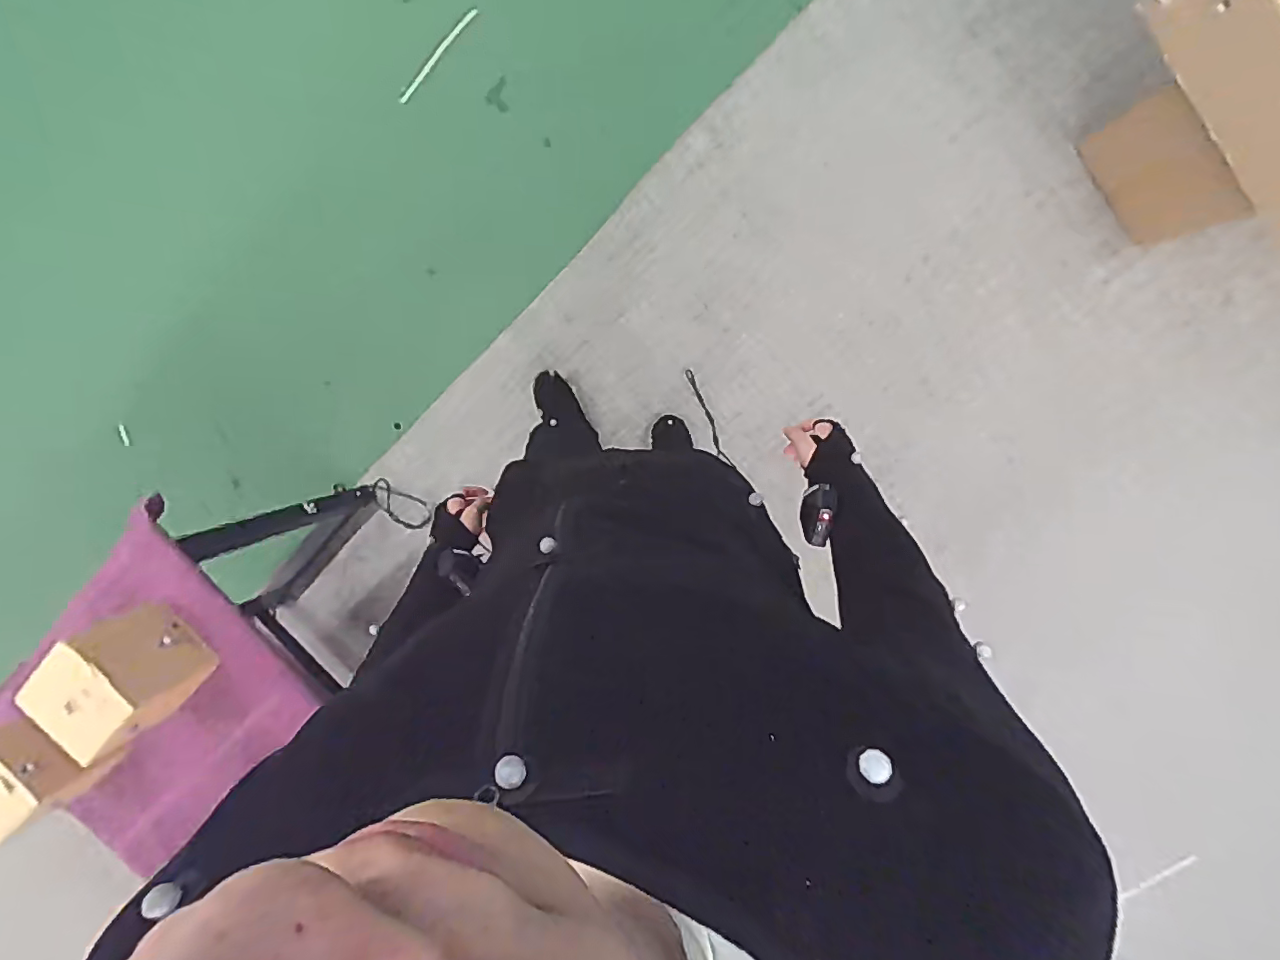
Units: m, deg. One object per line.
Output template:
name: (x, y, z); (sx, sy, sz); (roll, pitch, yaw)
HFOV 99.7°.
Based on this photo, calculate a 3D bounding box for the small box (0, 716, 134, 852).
small box: (-1.159, 0.559, 1.053); (0.179, 0.176, 0.168); (-41, 94, 12)

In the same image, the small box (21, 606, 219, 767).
small box: (-0.931, 0.367, 0.986); (0.179, 0.176, 0.168); (-43, 95, 12)

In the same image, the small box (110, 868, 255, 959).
small box: (-0.873, 0.887, 1.083); (0.179, 0.176, 0.168); (-40, 95, 11)
